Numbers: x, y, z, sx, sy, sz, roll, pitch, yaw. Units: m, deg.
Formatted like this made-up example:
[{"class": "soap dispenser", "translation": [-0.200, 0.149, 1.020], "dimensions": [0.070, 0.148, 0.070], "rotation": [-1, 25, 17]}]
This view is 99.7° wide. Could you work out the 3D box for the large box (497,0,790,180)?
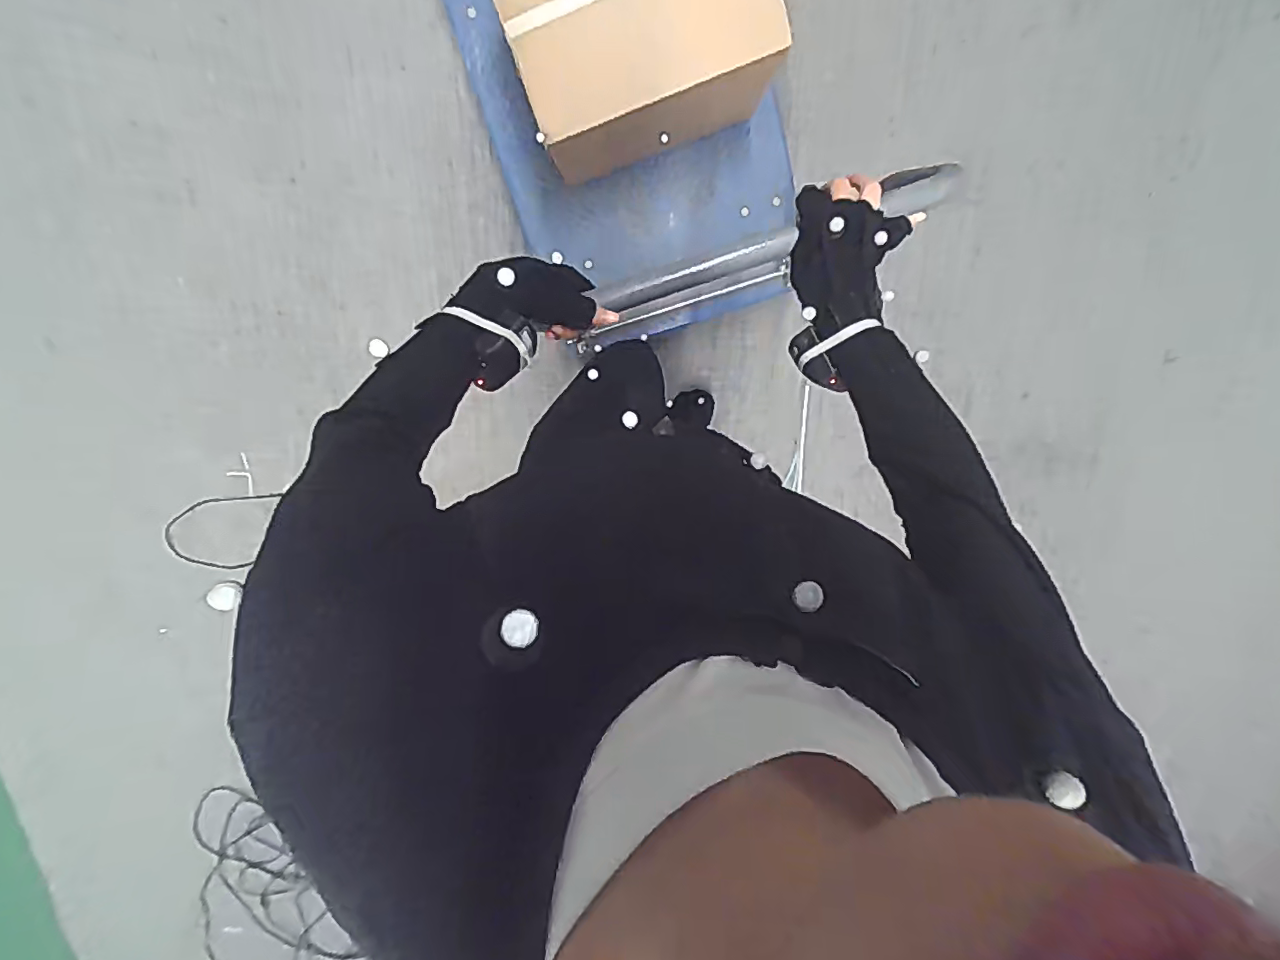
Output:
[{"class": "large box", "translation": [-0.010, -0.781, 0.932], "dimensions": [0.408, 0.320, 0.320], "rotation": [-20, 106, 5]}]
